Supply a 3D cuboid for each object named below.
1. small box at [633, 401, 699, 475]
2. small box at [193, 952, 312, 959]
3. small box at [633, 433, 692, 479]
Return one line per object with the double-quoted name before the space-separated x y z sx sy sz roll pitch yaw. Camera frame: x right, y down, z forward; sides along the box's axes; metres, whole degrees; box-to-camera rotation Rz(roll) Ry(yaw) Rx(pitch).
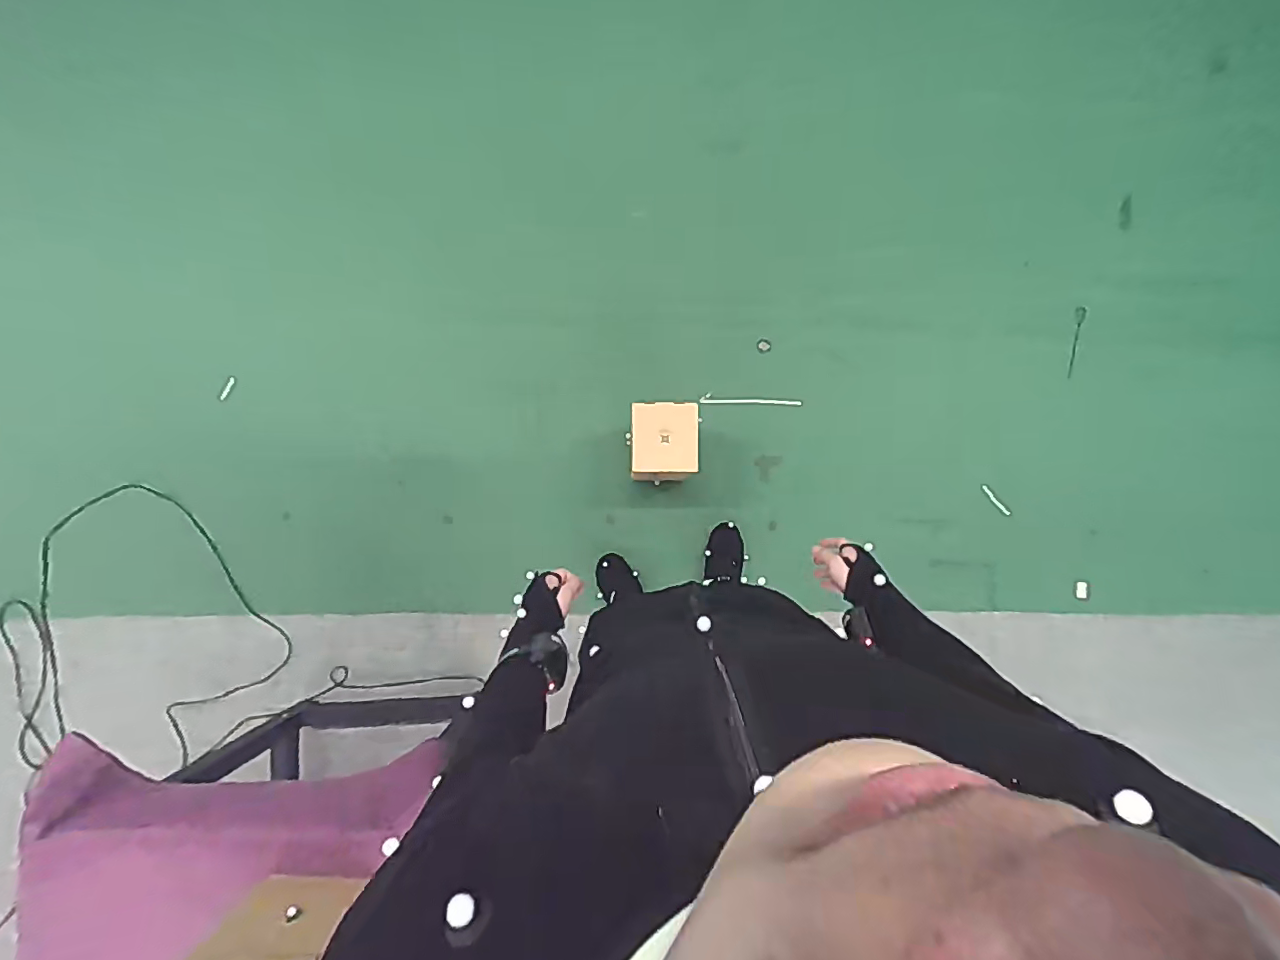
"small box" 0.067 -0.105 1.415 0.168 0.176 0.179 0 85 0
"small box" -0.515 0.698 0.627 0.179 0.176 0.168 1 88 0
"small box" 0.063 -0.094 1.576 0.168 0.176 0.179 0 87 0
